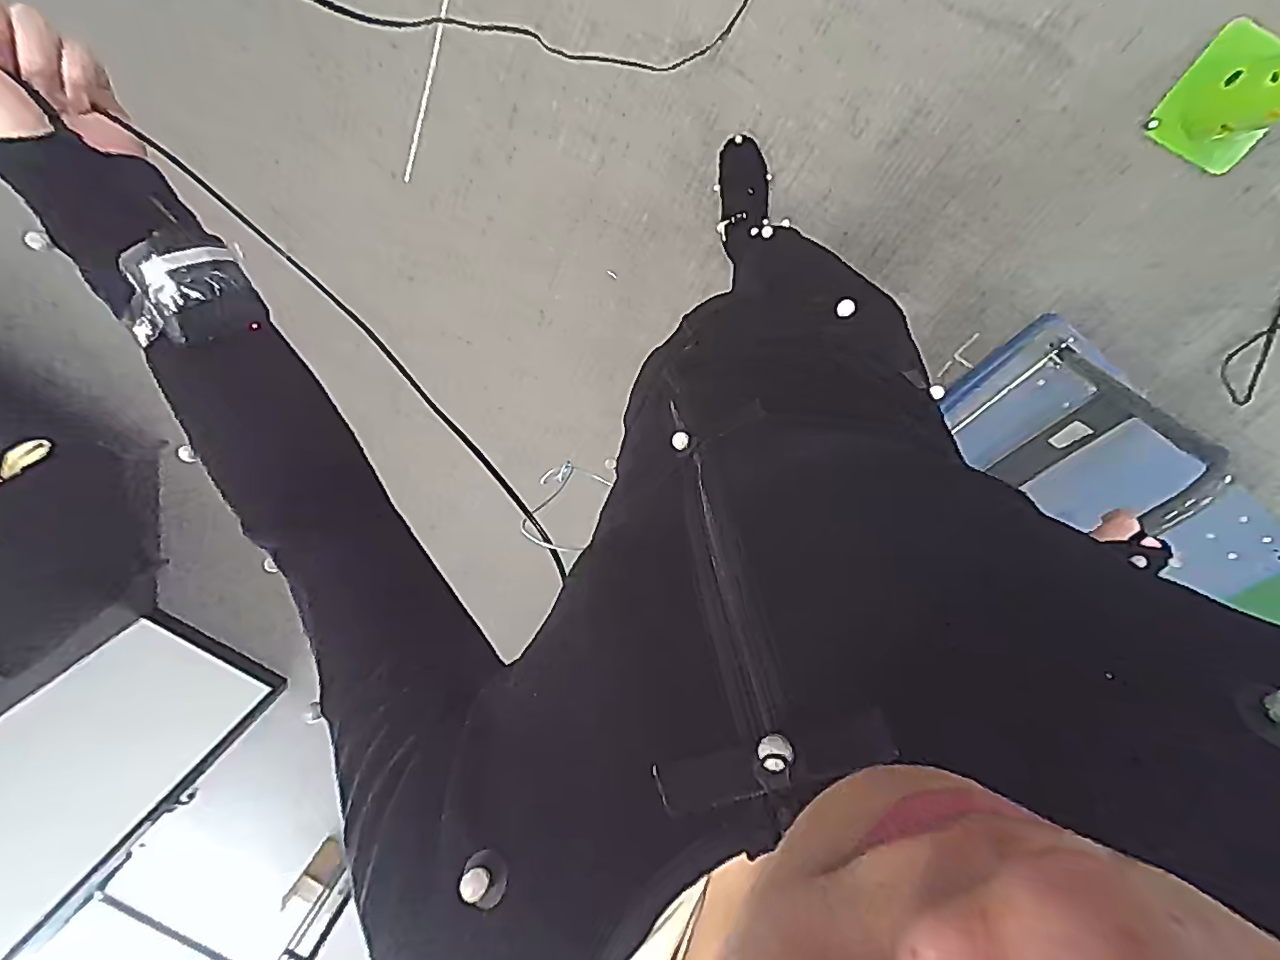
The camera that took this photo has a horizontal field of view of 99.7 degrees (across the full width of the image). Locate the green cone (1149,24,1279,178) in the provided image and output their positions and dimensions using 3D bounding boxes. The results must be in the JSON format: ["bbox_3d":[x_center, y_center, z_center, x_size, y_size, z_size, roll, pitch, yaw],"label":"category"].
[{"bbox_3d":[1.096,-0.640,0.889,0.200,0.368,0.202,28,121,-1],"label":"green cone"}]
